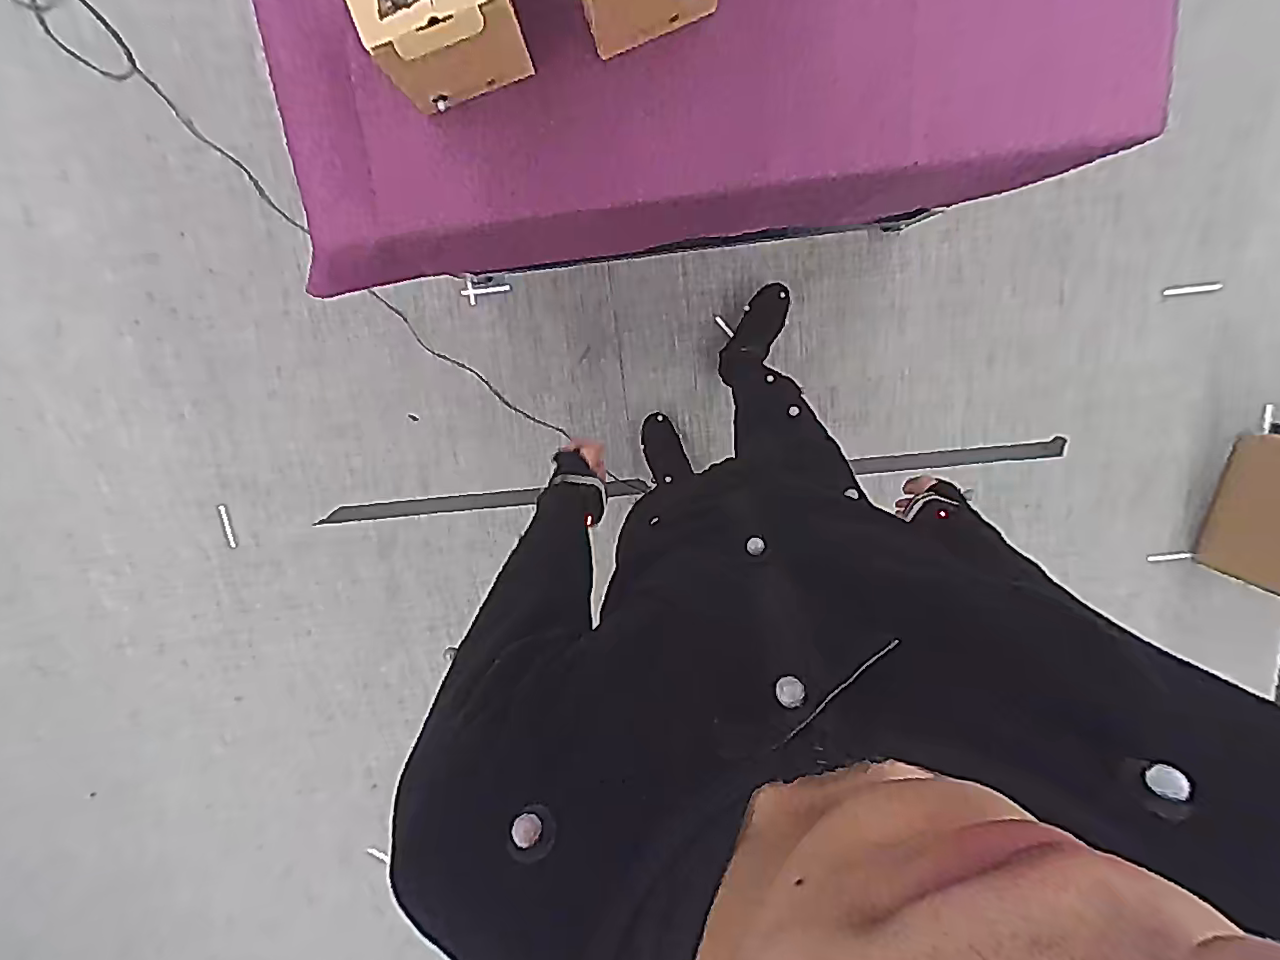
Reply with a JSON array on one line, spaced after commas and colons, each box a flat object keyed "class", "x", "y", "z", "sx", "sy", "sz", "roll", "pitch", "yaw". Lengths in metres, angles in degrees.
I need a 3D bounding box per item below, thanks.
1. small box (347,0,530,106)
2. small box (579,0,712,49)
[{"class": "small box", "x": -0.248, "y": -0.590, "z": 0.650, "sx": 0.168, "sy": 0.176, "sz": 0.179, "roll": -18, "pitch": 102, "yaw": 4}, {"class": "small box", "x": -0.006, "y": -0.657, "z": 0.636, "sx": 0.168, "sy": 0.176, "sz": 0.179, "roll": -20, "pitch": 102, "yaw": 4}]
